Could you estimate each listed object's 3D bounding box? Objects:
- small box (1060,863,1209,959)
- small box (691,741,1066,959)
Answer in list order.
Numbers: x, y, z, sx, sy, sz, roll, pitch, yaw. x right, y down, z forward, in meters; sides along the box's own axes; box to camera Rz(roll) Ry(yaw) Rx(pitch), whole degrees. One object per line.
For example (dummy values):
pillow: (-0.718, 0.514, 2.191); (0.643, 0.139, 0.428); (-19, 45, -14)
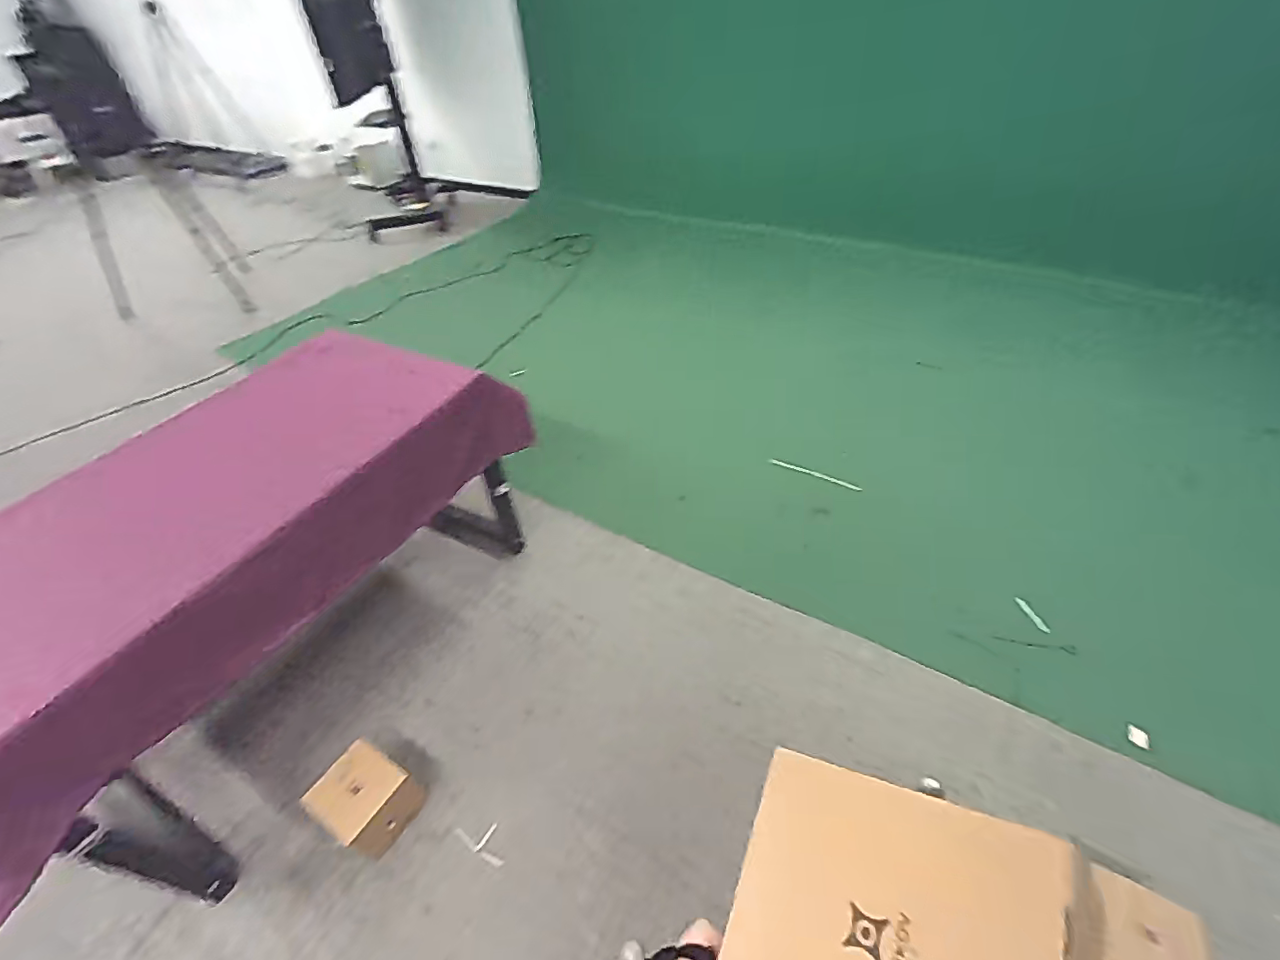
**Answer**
small box: (0.948, 0.900, 1.054); (0.179, 0.176, 0.168); (20, 49, 23)
small box: (0.162, 0.304, 0.359); (0.179, 0.176, 0.168); (-5, 50, 42)
